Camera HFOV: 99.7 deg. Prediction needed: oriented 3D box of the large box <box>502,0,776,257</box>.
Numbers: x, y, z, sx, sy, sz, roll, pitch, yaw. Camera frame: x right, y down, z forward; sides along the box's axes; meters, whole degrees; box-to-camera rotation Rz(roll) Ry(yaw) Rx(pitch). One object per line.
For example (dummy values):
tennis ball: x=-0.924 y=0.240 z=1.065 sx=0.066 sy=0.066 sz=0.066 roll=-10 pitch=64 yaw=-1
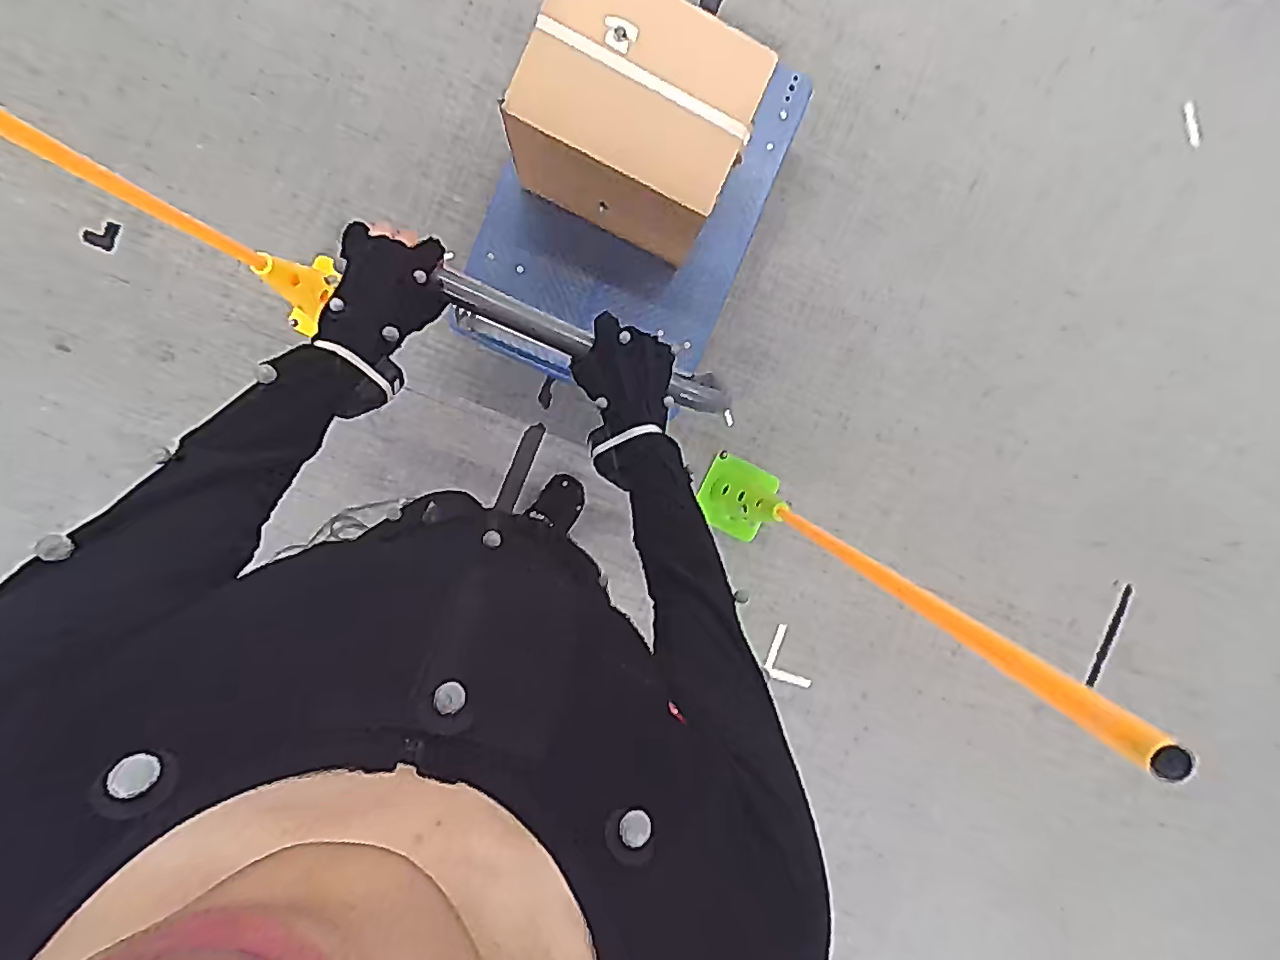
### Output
large box: x=-0.008 y=-0.714 z=1.088 sx=0.408 sy=0.320 sz=0.320 roll=24 pitch=93 yaw=-7

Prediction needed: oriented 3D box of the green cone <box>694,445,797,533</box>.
green cone: x=0.289 y=0.042 z=1.325 sx=0.202 sy=0.368 sz=0.200 roll=26 pitch=92 yaw=-8
